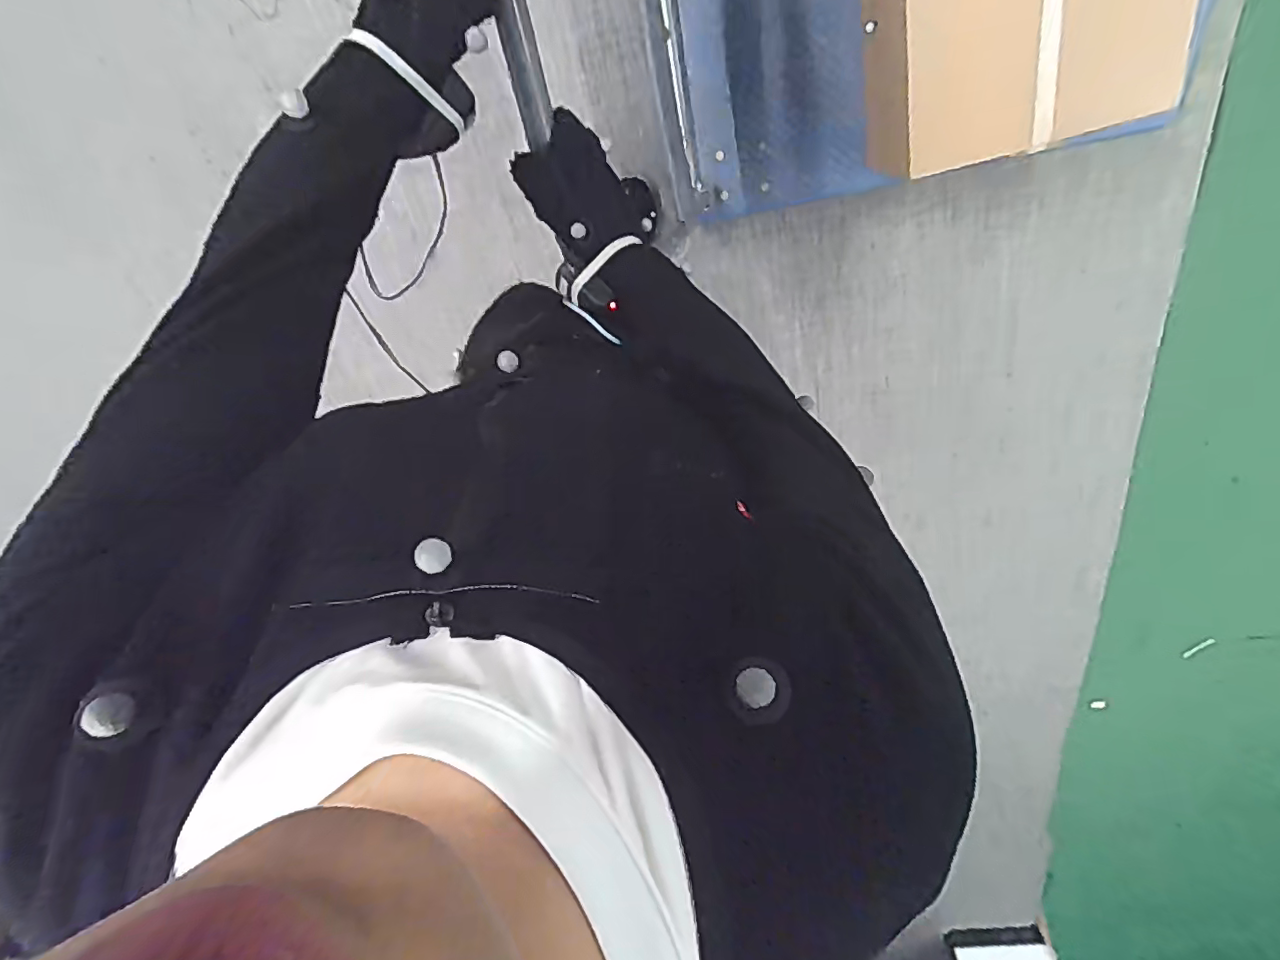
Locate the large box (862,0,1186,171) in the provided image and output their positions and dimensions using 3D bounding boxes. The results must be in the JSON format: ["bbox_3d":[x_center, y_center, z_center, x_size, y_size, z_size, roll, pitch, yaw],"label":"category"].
[{"bbox_3d":[0.500,-0.707,0.759,0.320,0.320,0.408,-9,120,16],"label":"large box"}]
